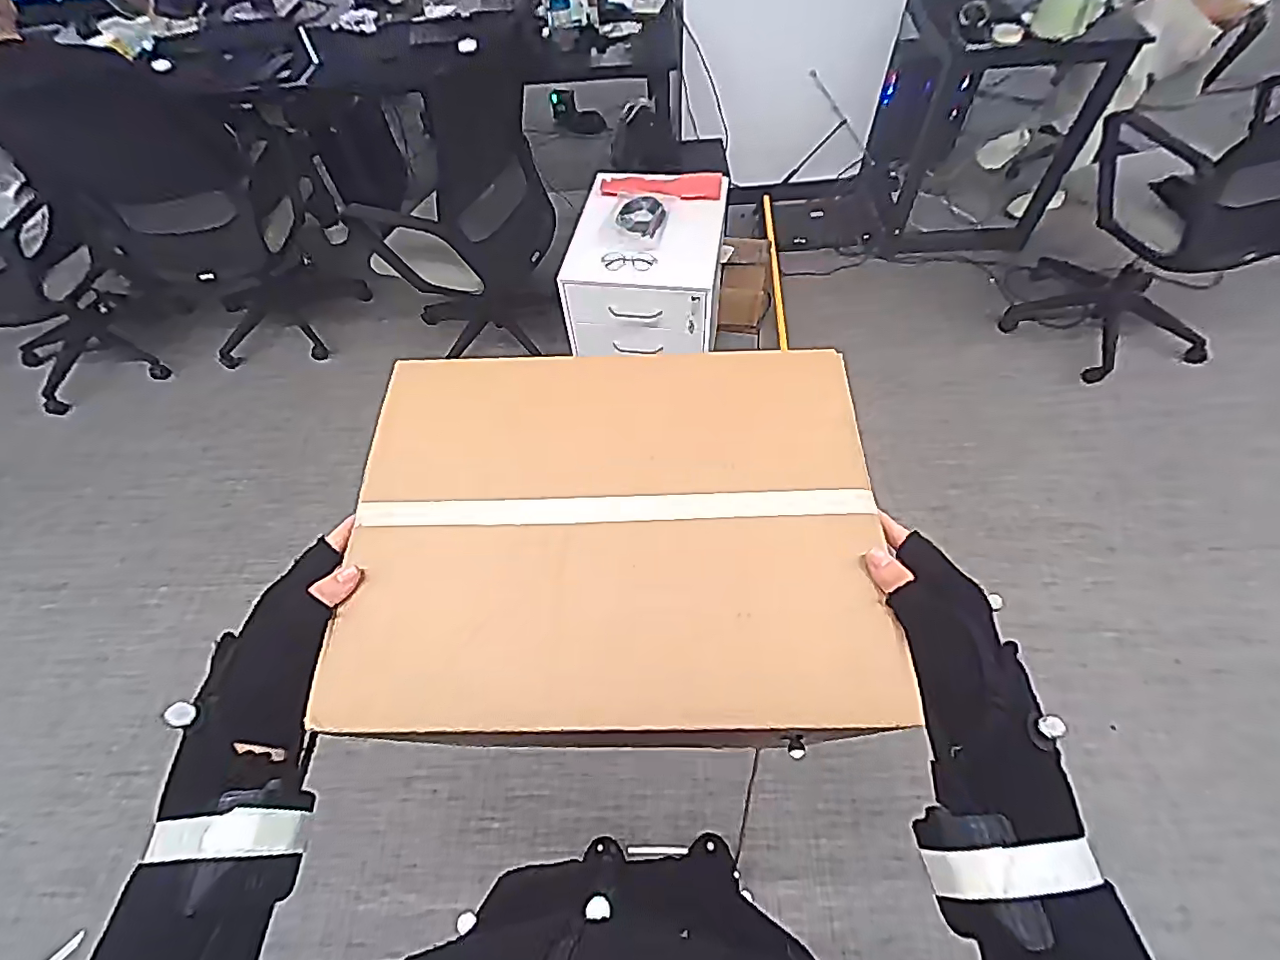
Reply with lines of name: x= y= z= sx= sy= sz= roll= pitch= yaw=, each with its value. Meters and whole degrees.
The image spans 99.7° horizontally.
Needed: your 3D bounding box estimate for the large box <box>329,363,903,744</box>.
large box: x=-0.014 y=0.102 z=0.568 sx=0.408 sy=0.320 sz=0.320 roll=-1 pitch=62 yaw=2
